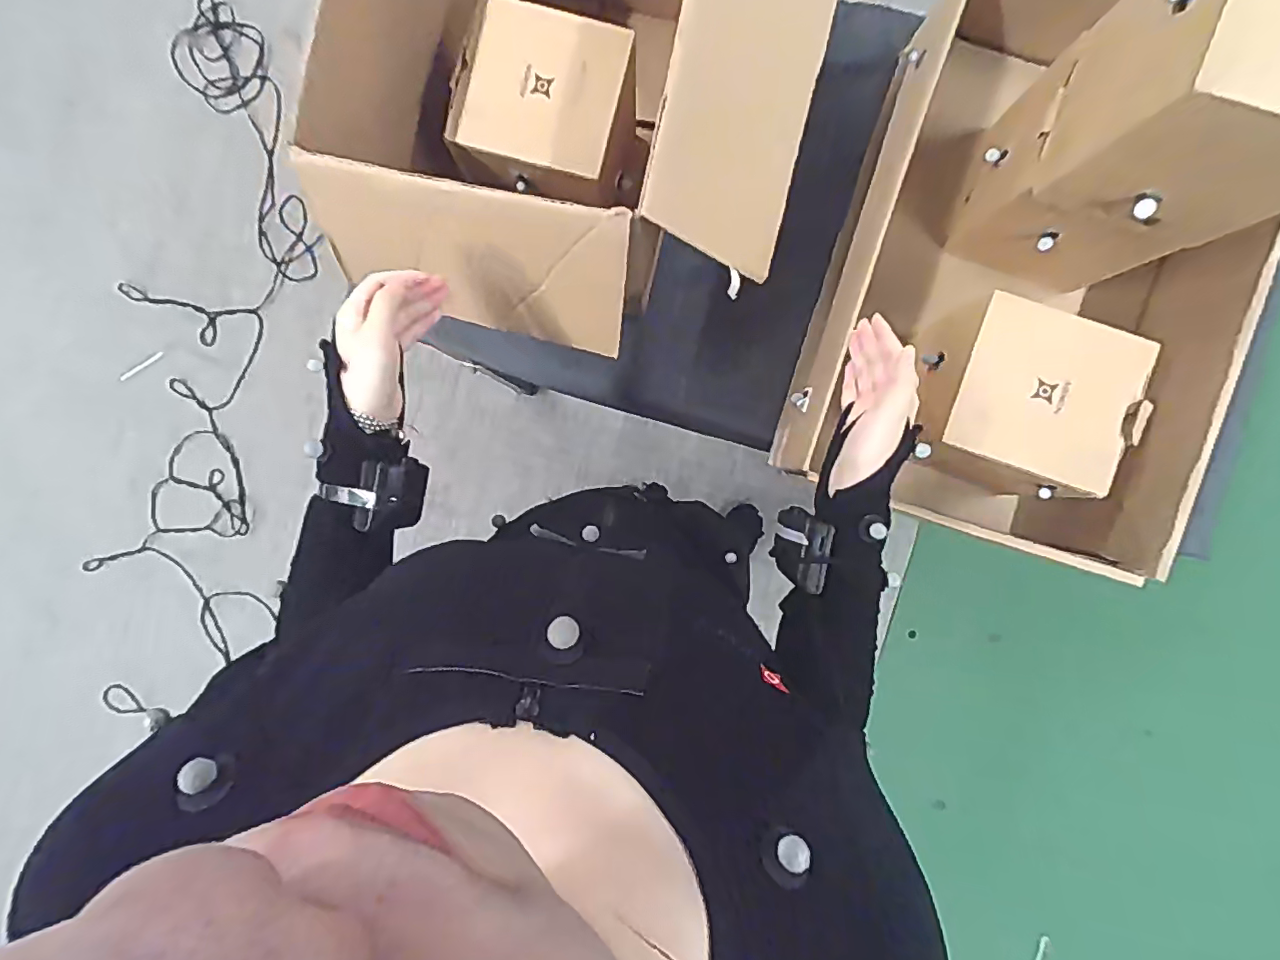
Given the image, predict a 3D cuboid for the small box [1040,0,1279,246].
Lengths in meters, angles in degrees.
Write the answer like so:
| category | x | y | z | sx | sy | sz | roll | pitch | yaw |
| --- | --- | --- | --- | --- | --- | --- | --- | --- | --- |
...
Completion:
| category | x | y | z | sx | sy | sz | roll | pitch | yaw |
| --- | --- | --- | --- | --- | --- | --- | --- | --- | --- |
| small box | 0.489 | -0.331 | 0.453 | 0.168 | 0.176 | 0.179 | 19 | 94 | 1 |
